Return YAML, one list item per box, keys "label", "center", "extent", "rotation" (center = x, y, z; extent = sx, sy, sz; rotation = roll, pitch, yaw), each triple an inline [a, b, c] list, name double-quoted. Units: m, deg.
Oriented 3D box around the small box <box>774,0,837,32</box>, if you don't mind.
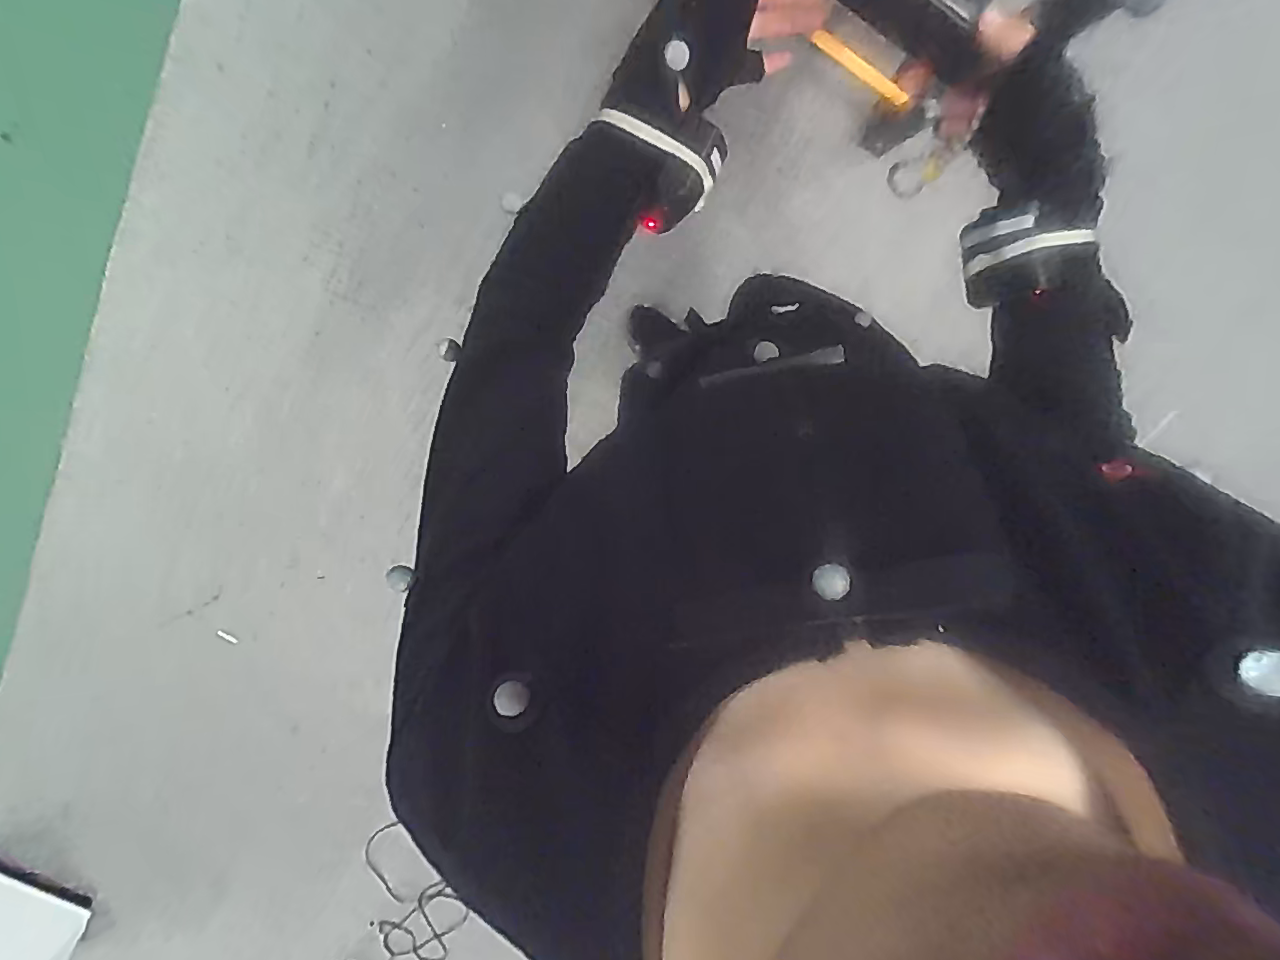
- label: "small box"
  center: [0.319, -0.963, 0.963]
  extent: [0.168, 0.176, 0.179]
  rotation: [34, 107, -9]
